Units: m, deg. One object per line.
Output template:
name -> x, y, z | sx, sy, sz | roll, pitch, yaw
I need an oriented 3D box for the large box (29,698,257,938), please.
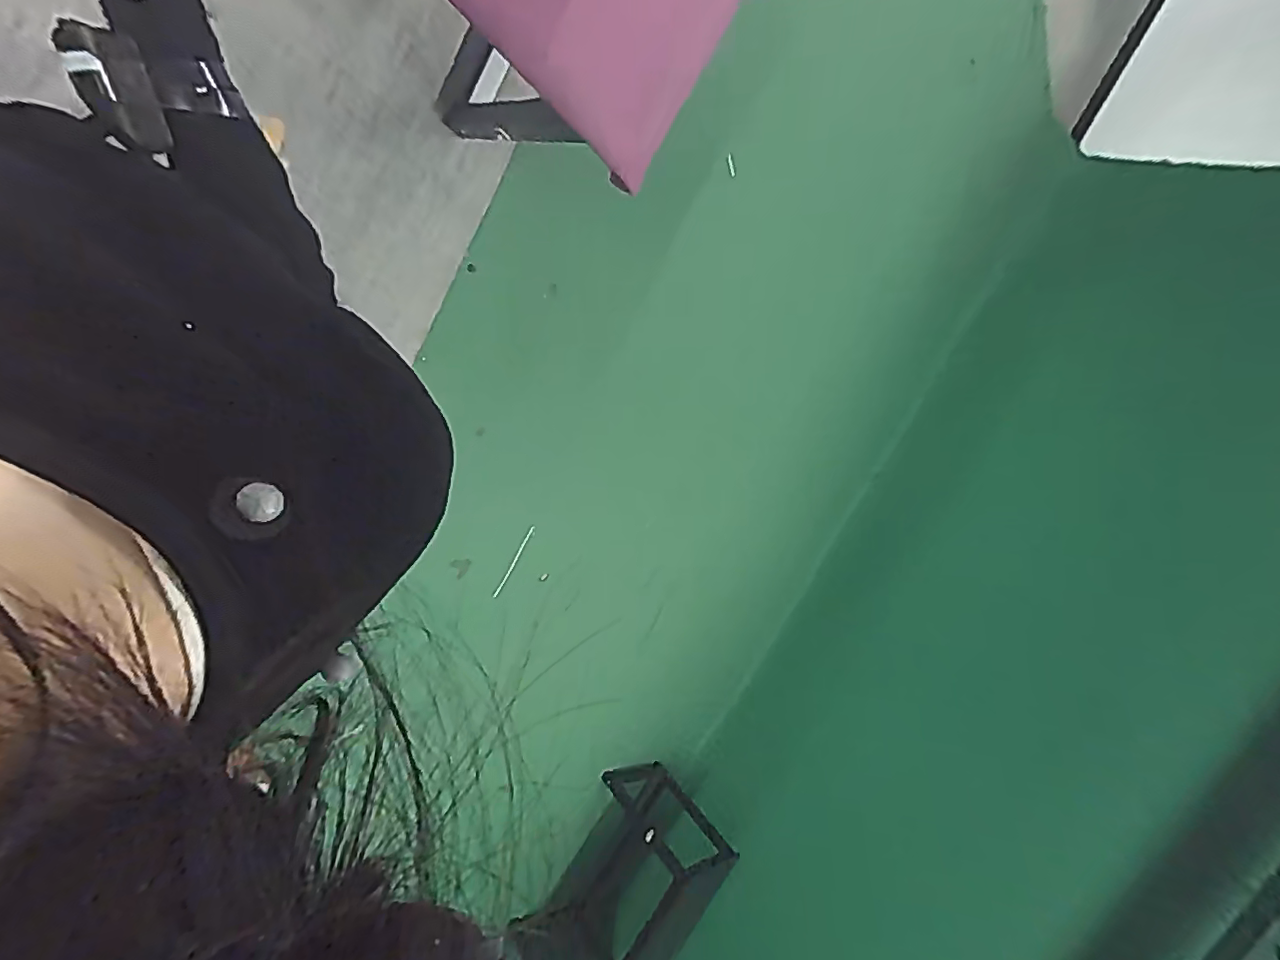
large box -> -1.289, 0.844, 1.418 | 0.408, 0.320, 0.320 | 0, 117, -46
